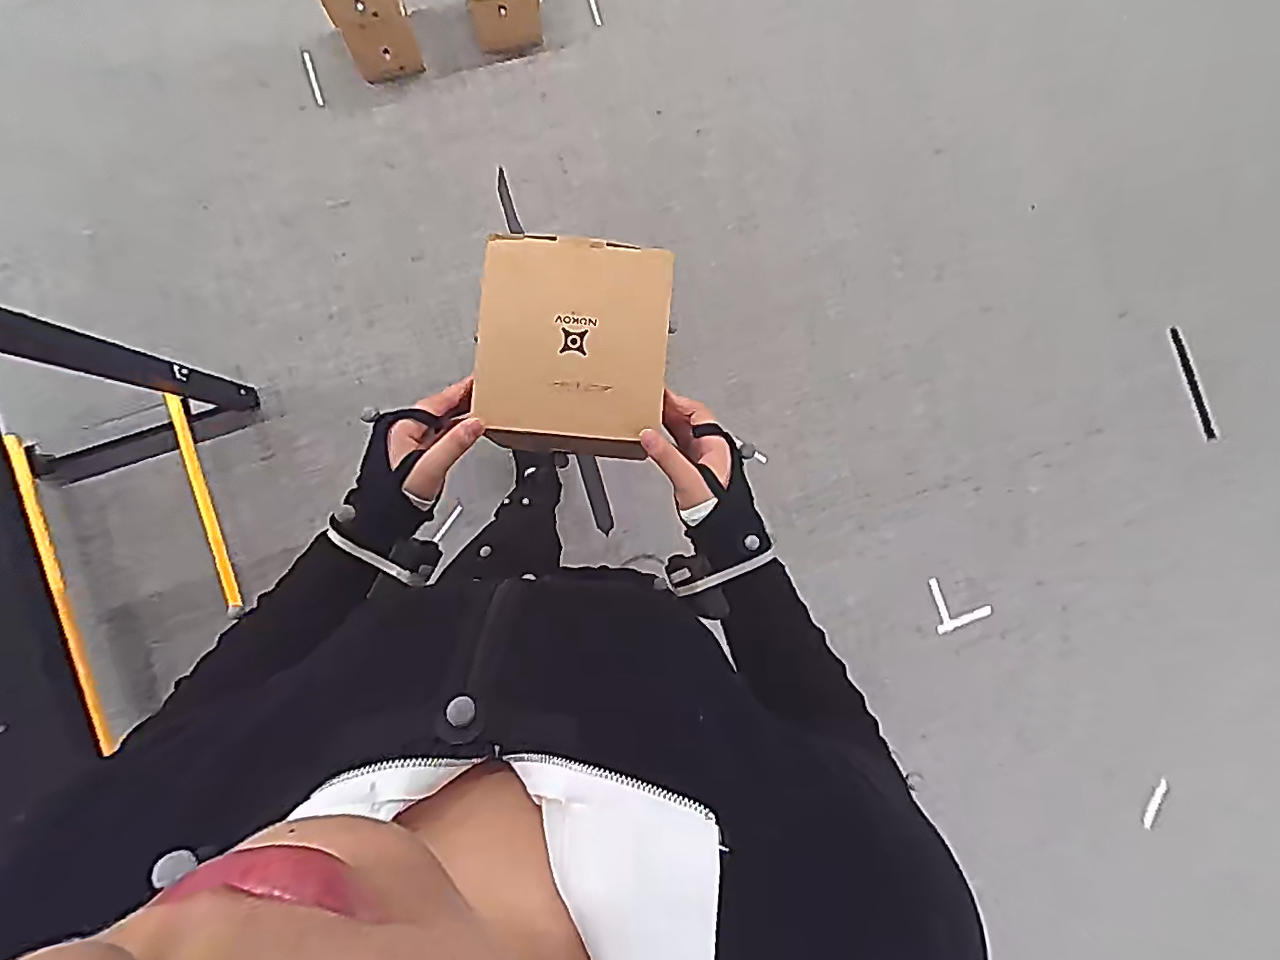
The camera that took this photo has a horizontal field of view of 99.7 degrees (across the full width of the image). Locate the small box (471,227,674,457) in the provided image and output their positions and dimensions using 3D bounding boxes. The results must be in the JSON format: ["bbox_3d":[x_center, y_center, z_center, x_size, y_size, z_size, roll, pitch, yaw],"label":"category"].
[{"bbox_3d":[-0.063,-0.124,0.551,0.168,0.176,0.179,4,87,-3],"label":"small box"}]

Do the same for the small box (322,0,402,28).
[{"bbox_3d":[-0.669,-1.194,1.236,0.168,0.176,0.179,-13,89,-5],"label":"small box"}]

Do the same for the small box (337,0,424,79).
[{"bbox_3d":[-0.684,-1.185,1.401,0.168,0.176,0.179,-18,90,-5],"label":"small box"}]

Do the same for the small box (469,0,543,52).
[{"bbox_3d":[-0.367,-1.286,1.435,0.179,0.176,0.168,-14,89,-7],"label":"small box"}]
